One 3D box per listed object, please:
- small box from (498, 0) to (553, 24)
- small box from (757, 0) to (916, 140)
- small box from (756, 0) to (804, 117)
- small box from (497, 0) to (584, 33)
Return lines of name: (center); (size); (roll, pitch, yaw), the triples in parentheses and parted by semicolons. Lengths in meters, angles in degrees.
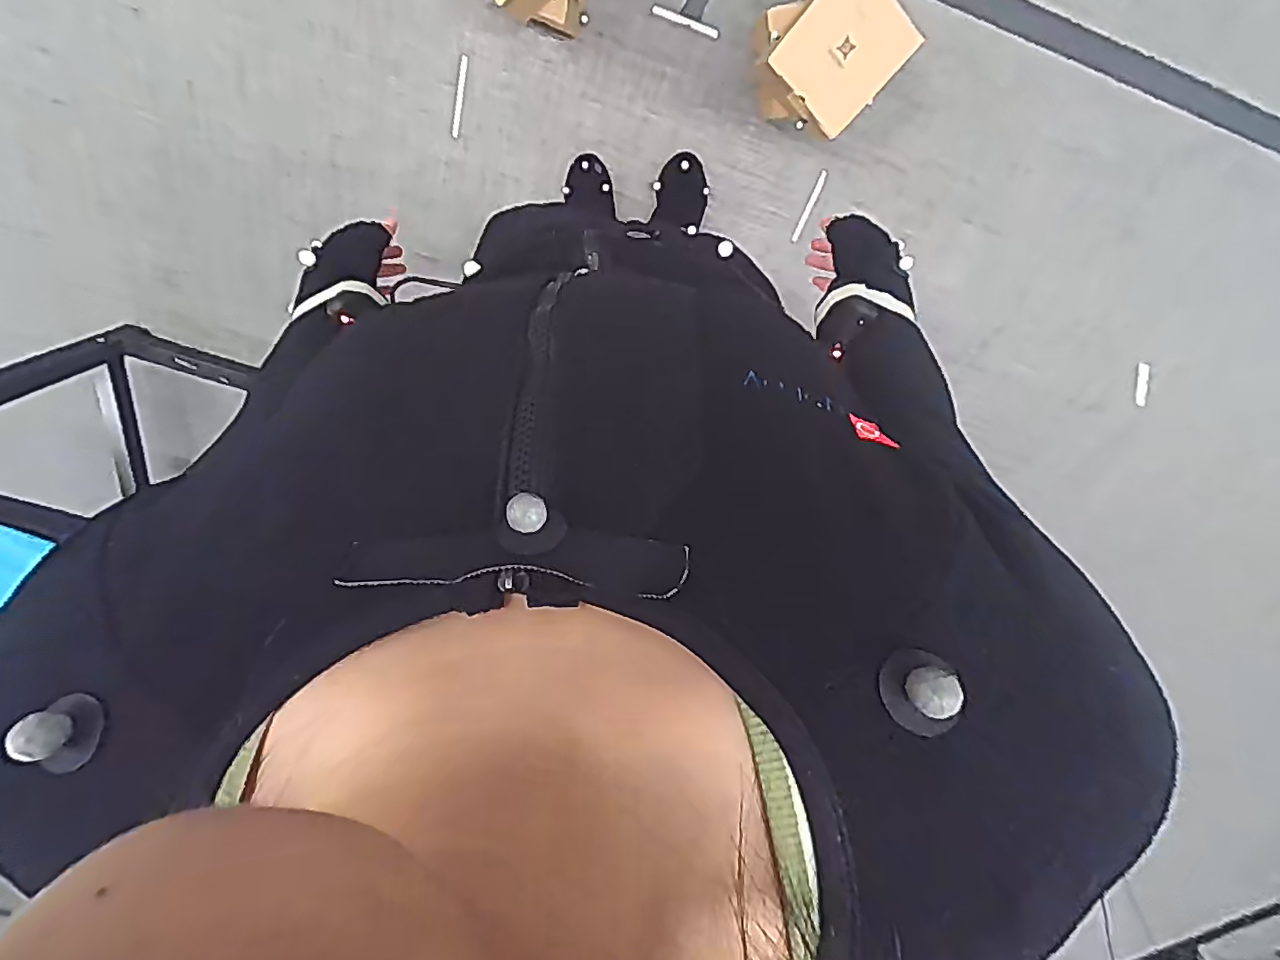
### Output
small box: (-0.190, -0.862, 0.829); (0.168, 0.176, 0.179); (-29, 116, 20)
small box: (0.313, -0.708, 0.904); (0.168, 0.176, 0.179); (37, 118, -21)
small box: (0.320, -0.808, 1.034); (0.179, 0.176, 0.168); (-8, 124, 9)
small box: (-0.185, -0.944, 0.976); (0.179, 0.176, 0.168); (20, 122, -8)
